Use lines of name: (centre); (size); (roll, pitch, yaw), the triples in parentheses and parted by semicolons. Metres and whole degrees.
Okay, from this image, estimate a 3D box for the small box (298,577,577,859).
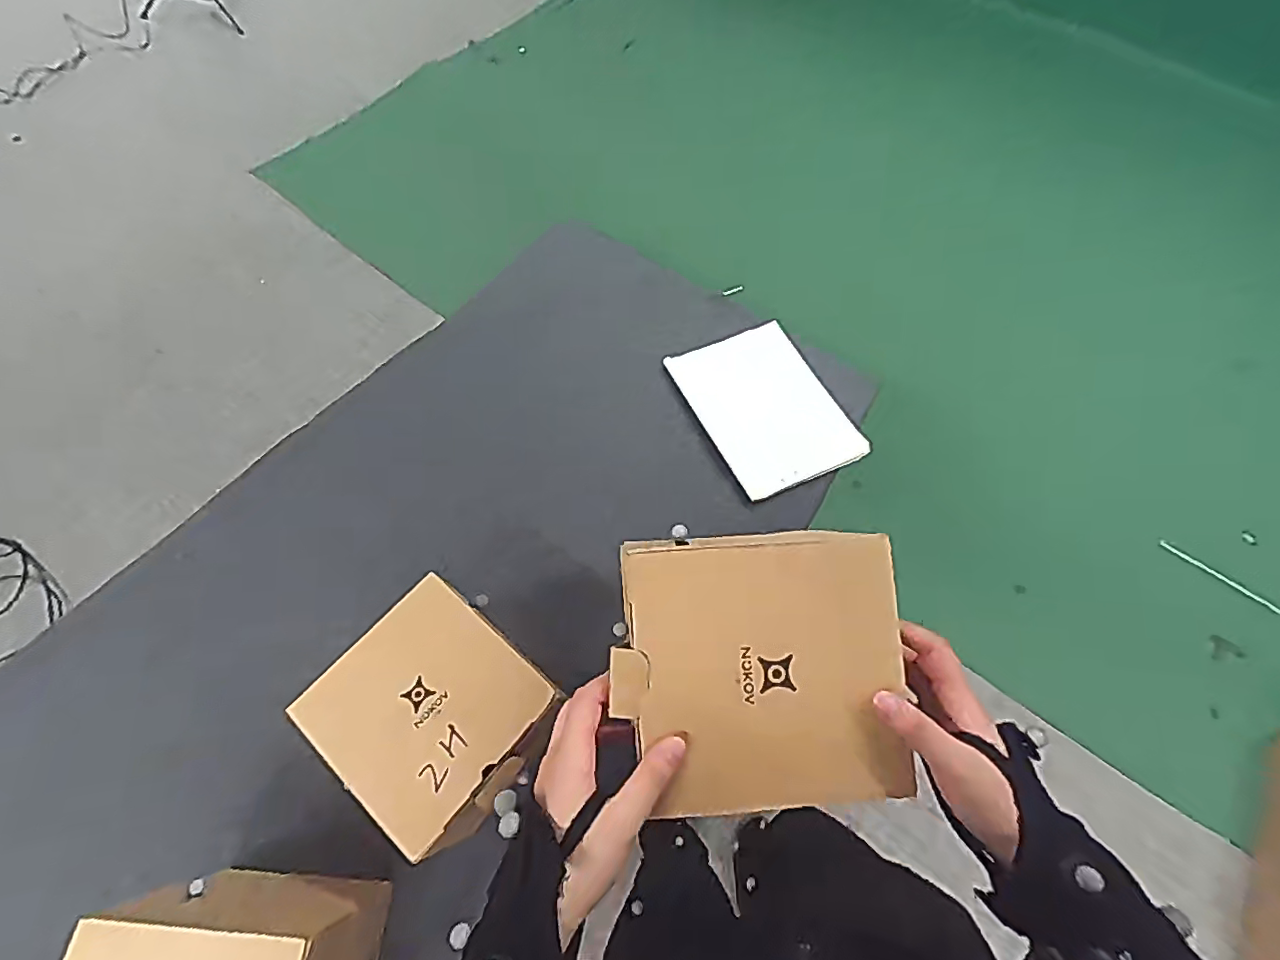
small box: (-0.184, 0.232, 0.546); (0.179, 0.176, 0.168); (37, 70, 16)
